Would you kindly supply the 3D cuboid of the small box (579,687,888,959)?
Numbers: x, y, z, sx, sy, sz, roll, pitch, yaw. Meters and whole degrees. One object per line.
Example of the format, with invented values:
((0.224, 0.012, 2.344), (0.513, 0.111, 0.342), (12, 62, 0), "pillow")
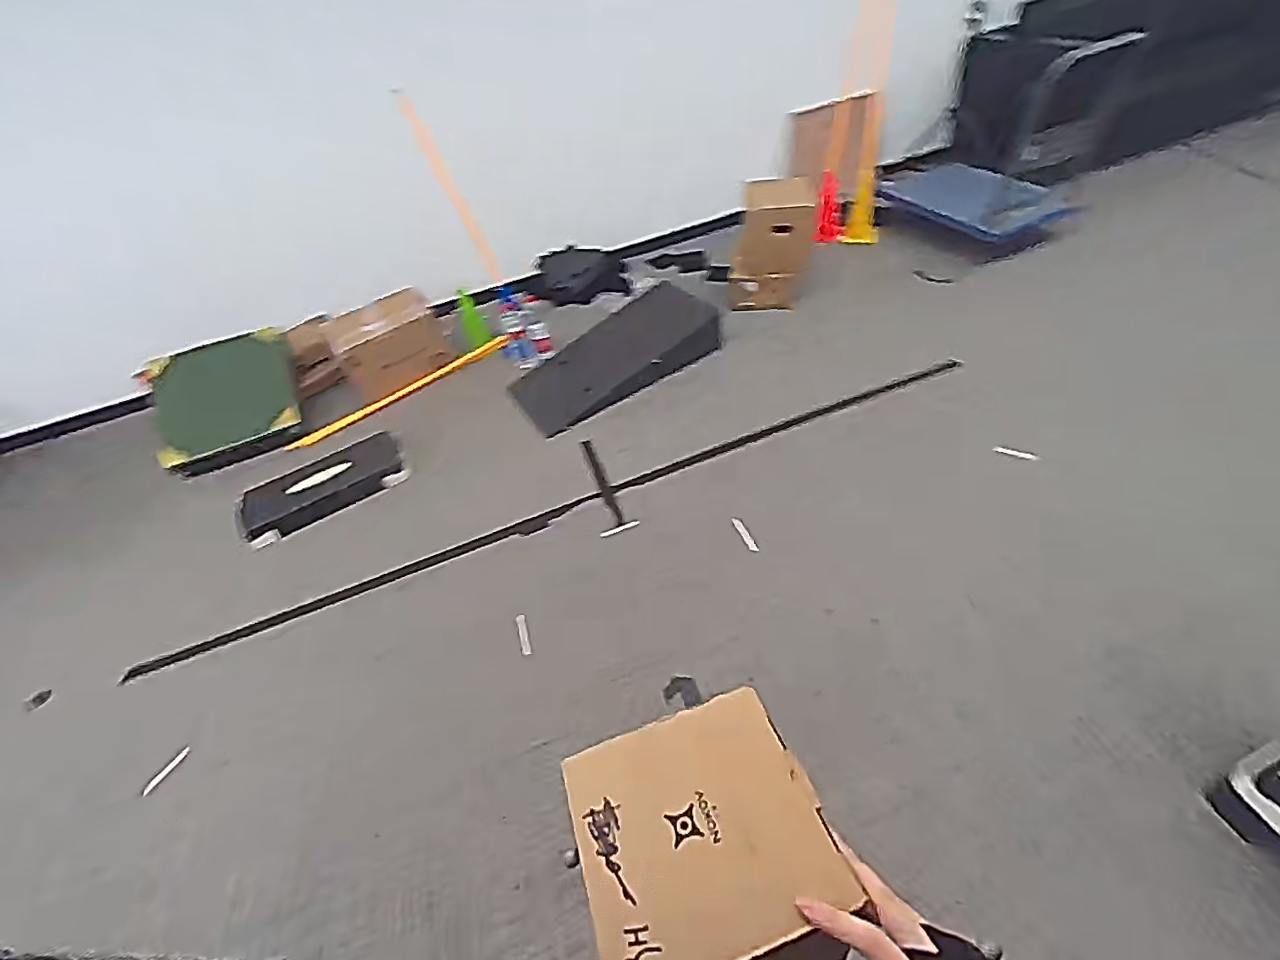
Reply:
((0.062, 0.305, 0.434), (0.179, 0.176, 0.168), (-16, 37, -8), "small box")
